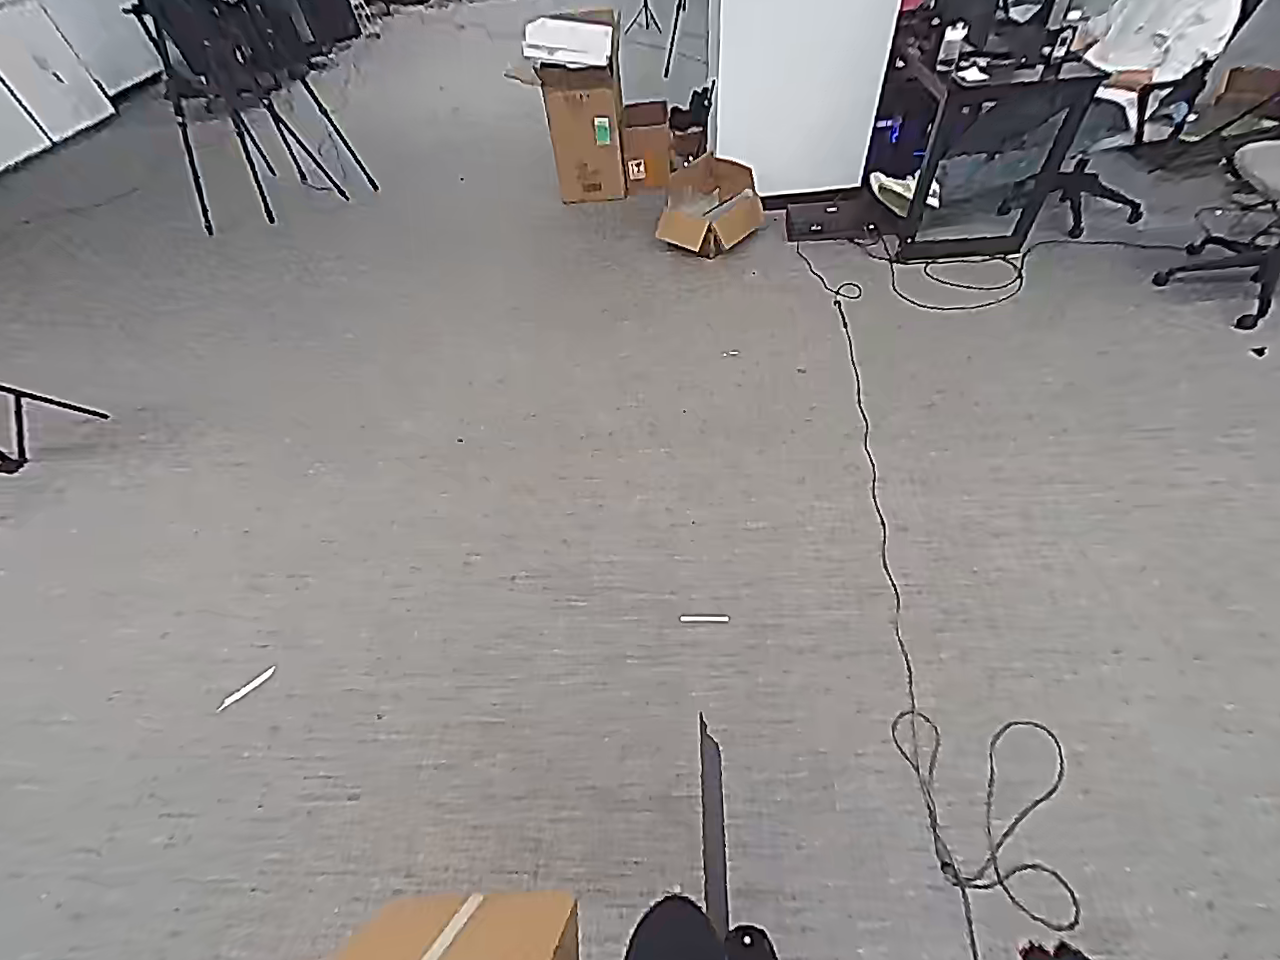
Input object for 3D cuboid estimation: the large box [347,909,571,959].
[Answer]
[{"bbox_3d":[-0.261,0.789,0.639,0.320,0.408,0.320,-7,74,3],"label":"large box"}]
